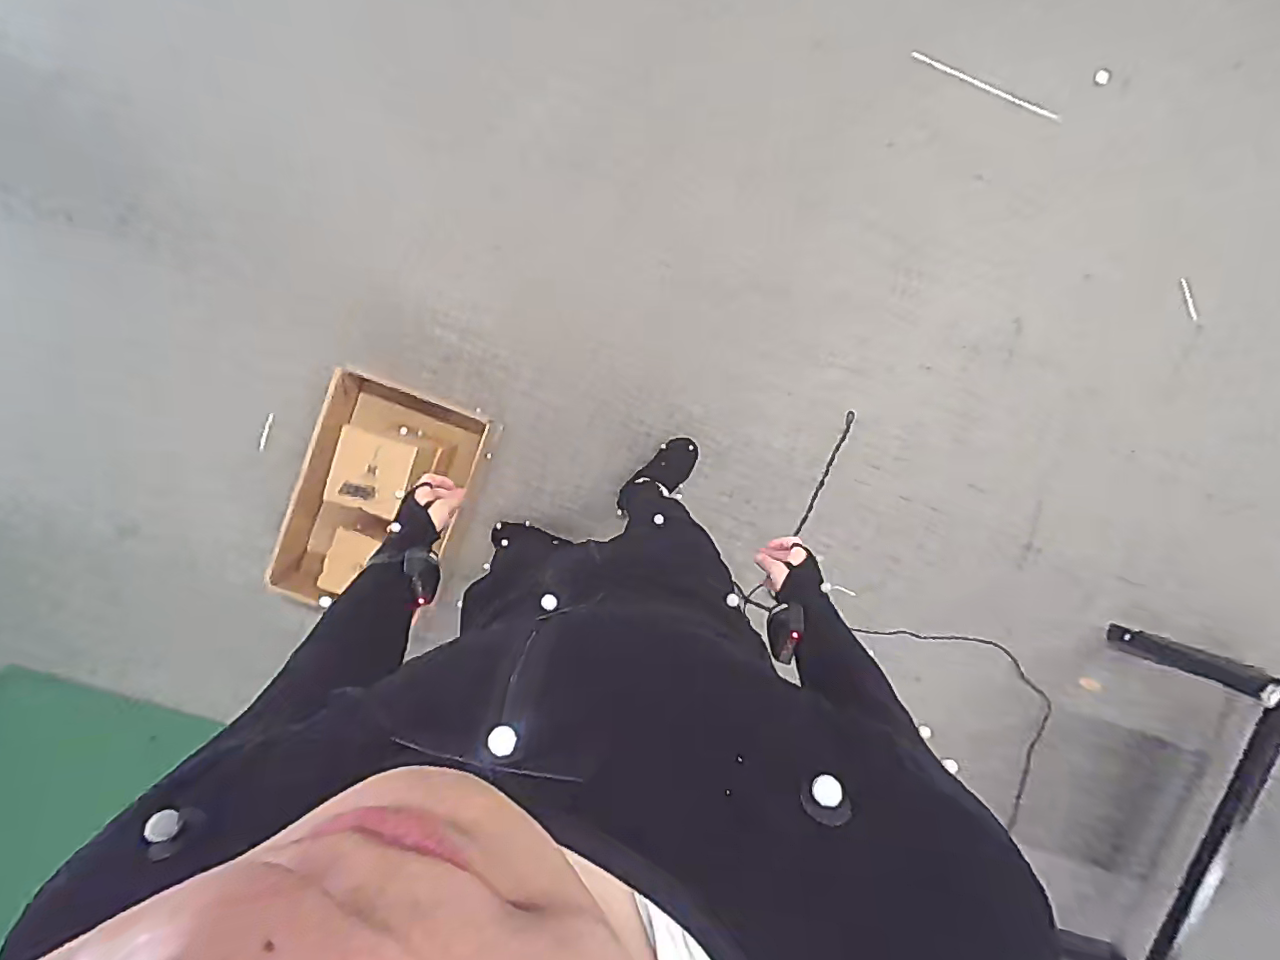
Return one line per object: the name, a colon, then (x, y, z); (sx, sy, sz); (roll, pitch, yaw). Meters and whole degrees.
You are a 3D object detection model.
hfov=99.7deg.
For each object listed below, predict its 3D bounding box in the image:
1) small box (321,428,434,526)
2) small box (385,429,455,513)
small box: (-0.603, -0.013, 1.264); (0.168, 0.176, 0.179); (19, 94, -7)
small box: (-0.615, -0.032, 1.428); (0.179, 0.176, 0.168); (23, 94, -6)
